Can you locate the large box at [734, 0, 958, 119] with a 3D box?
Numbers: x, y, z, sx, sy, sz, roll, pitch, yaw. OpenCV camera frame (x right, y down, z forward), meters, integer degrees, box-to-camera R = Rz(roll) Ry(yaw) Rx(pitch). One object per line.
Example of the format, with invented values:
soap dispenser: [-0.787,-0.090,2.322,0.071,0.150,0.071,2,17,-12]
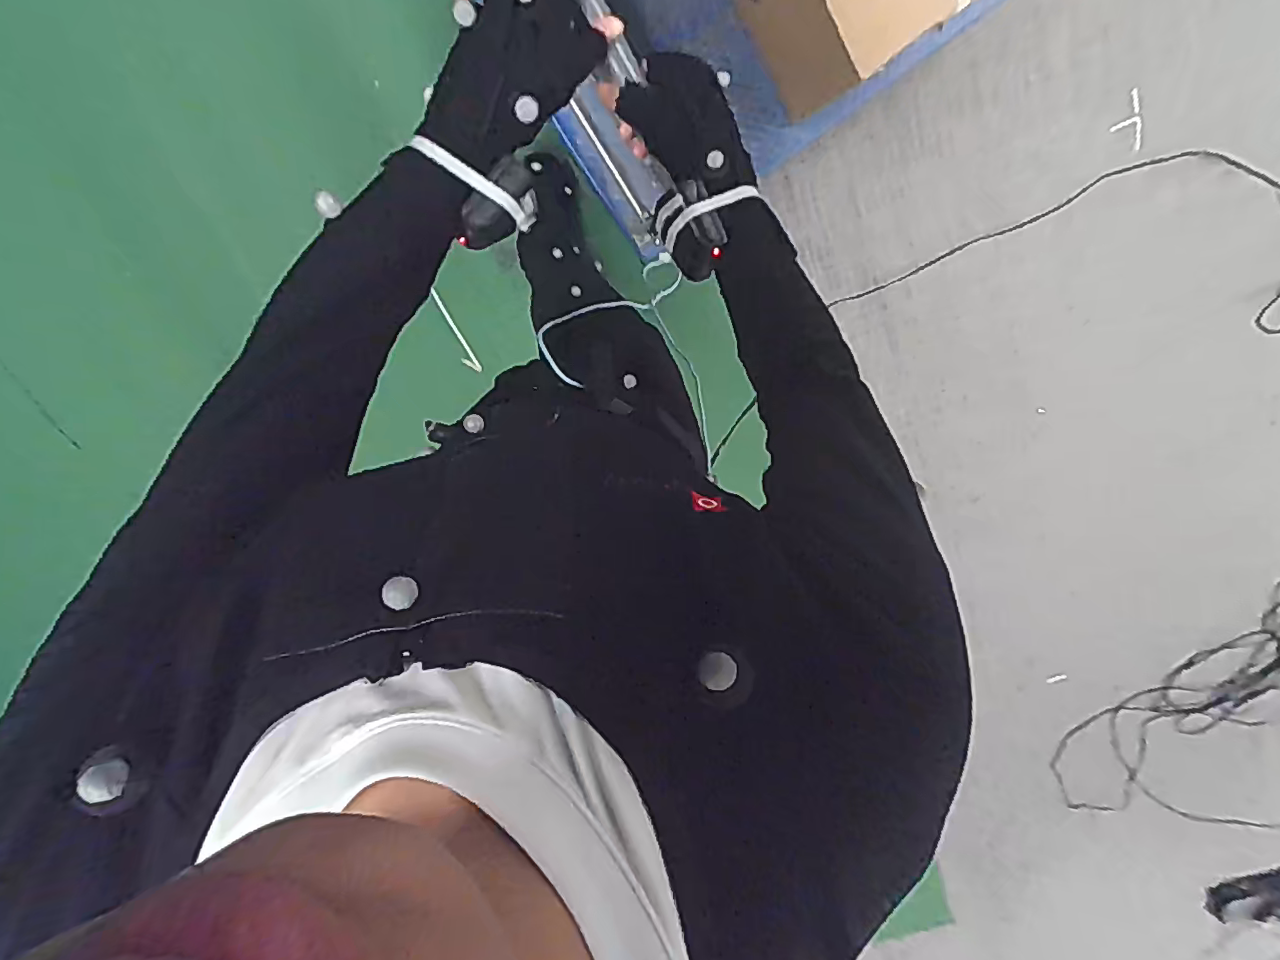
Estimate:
large box: [0.315,-0.866,0.819,0.320,0.320,0.408,-35,111,10]
